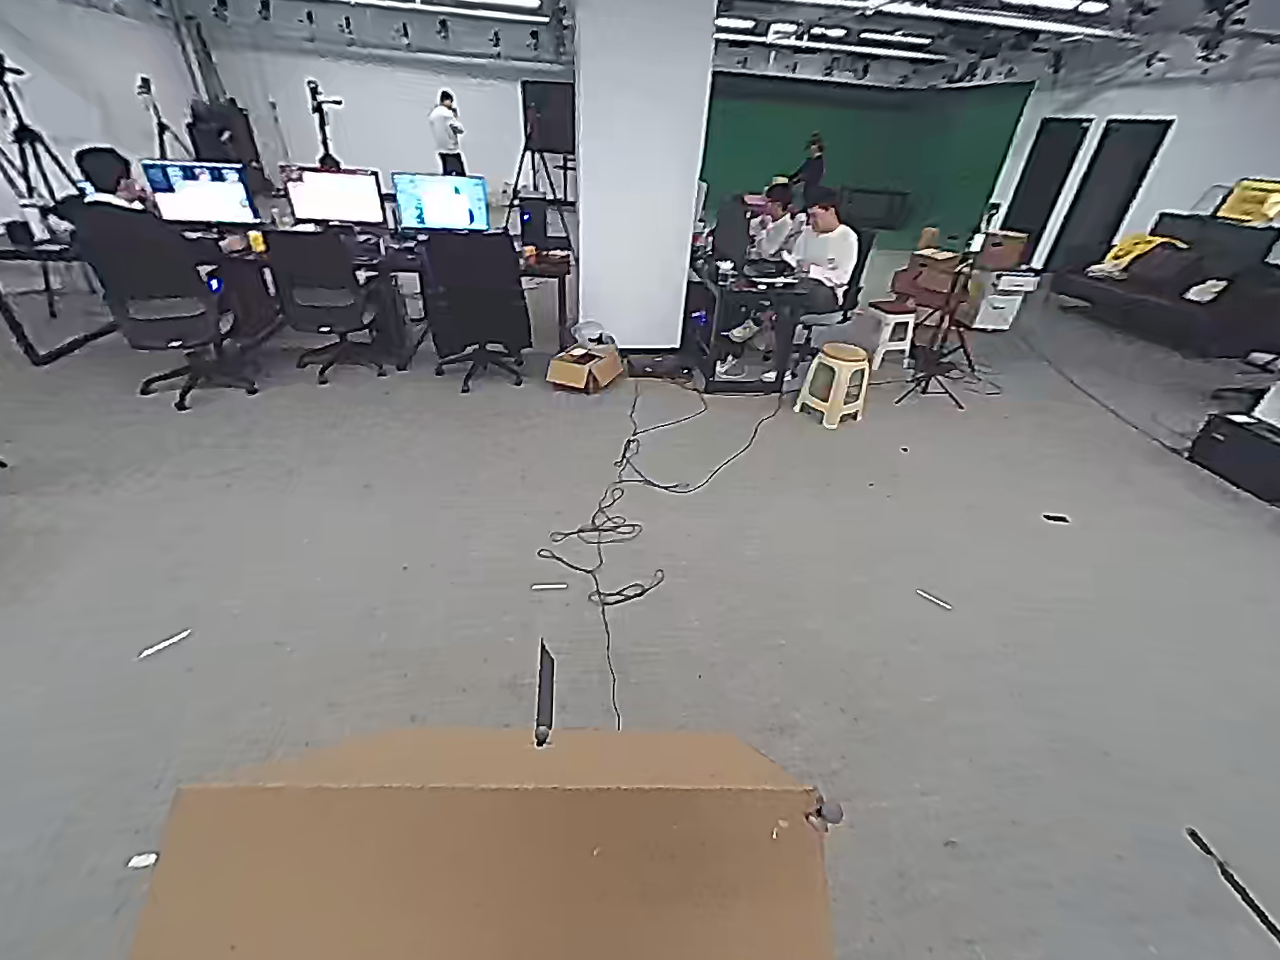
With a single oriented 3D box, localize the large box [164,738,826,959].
[{"bbox_3d":[-0.089,0.397,0.443,0.408,0.320,0.320,1,72,-1],"label":"large box"}]
